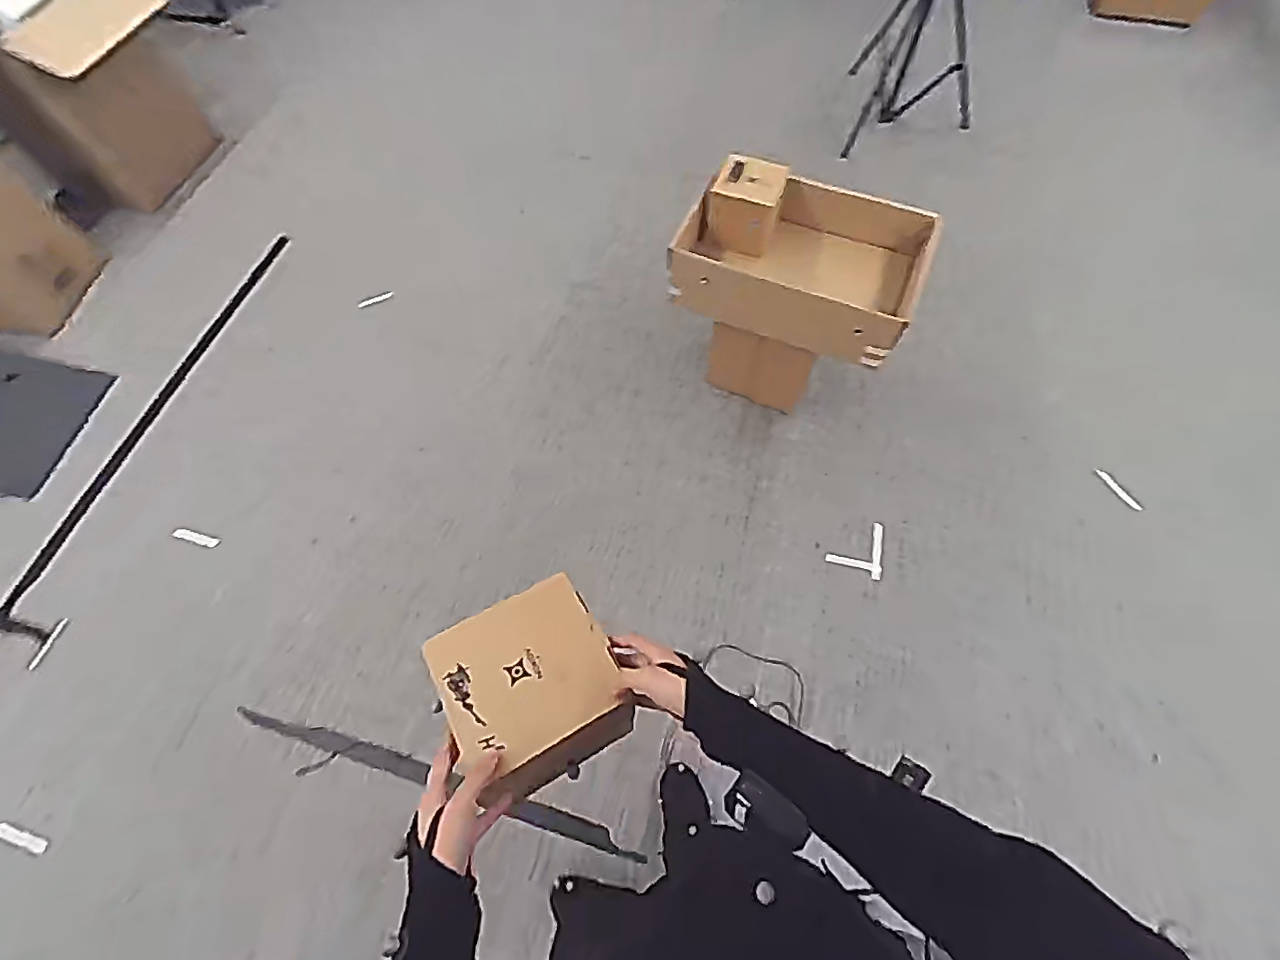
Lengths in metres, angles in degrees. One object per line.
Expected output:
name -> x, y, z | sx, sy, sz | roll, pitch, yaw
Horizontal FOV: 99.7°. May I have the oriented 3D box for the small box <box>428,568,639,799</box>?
small box -> -0.117, 0.236, 0.626 | 0.179, 0.176, 0.168 | -23, 57, -18
